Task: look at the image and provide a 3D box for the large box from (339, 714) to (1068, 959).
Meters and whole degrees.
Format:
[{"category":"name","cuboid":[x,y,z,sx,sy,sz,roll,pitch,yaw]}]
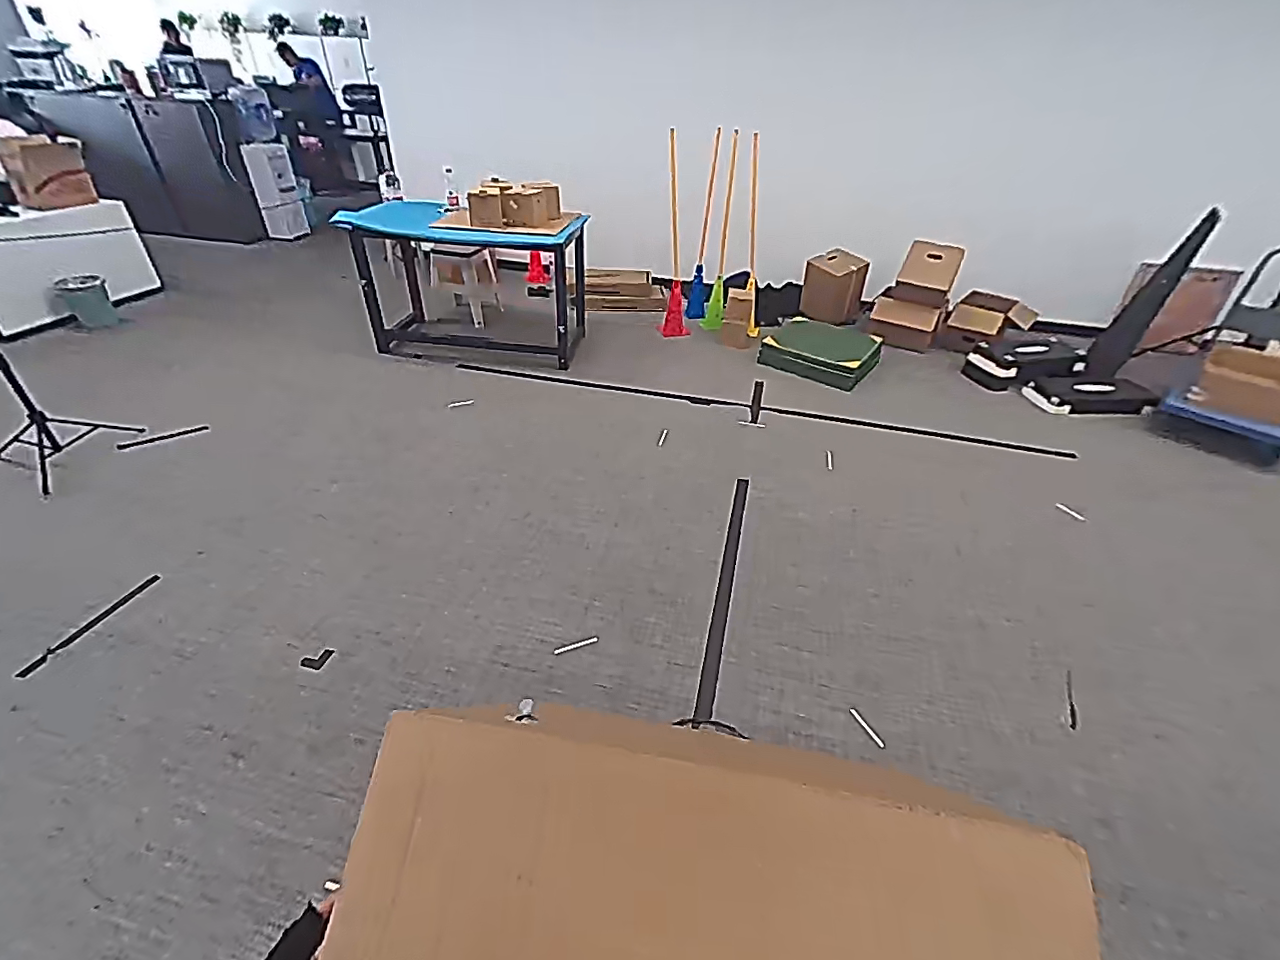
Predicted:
[{"category":"large box","cuboid":[0.028,0.376,0.416,0.408,0.320,0.320,6,70,9]}]
